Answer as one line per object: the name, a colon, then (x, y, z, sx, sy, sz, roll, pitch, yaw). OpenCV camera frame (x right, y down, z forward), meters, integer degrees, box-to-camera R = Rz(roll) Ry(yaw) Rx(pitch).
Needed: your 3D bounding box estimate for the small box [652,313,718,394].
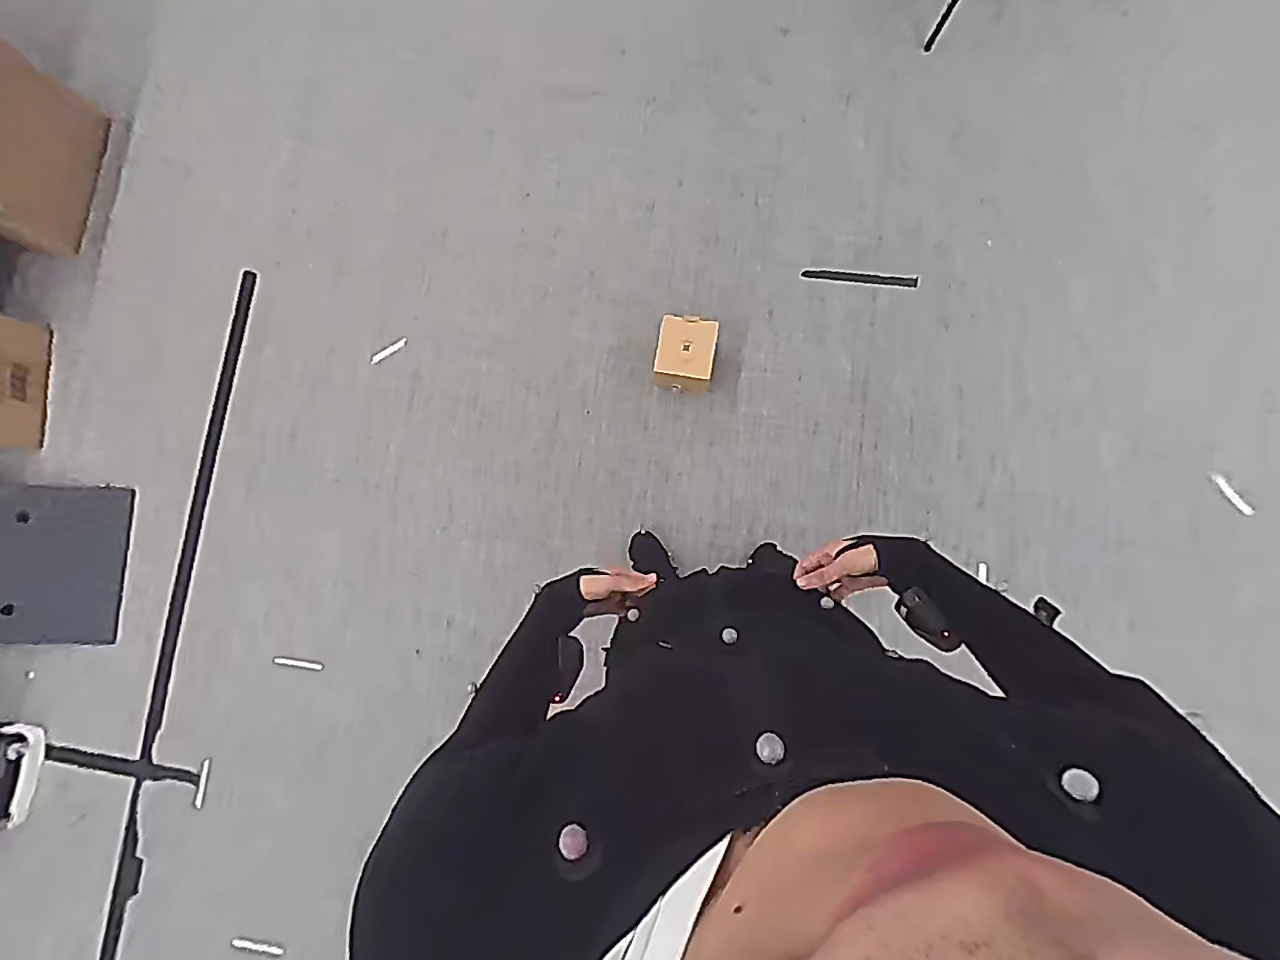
small box: (0.131, -0.375, 1.621, 0.168, 0.176, 0.179, 10, 84, 5)
